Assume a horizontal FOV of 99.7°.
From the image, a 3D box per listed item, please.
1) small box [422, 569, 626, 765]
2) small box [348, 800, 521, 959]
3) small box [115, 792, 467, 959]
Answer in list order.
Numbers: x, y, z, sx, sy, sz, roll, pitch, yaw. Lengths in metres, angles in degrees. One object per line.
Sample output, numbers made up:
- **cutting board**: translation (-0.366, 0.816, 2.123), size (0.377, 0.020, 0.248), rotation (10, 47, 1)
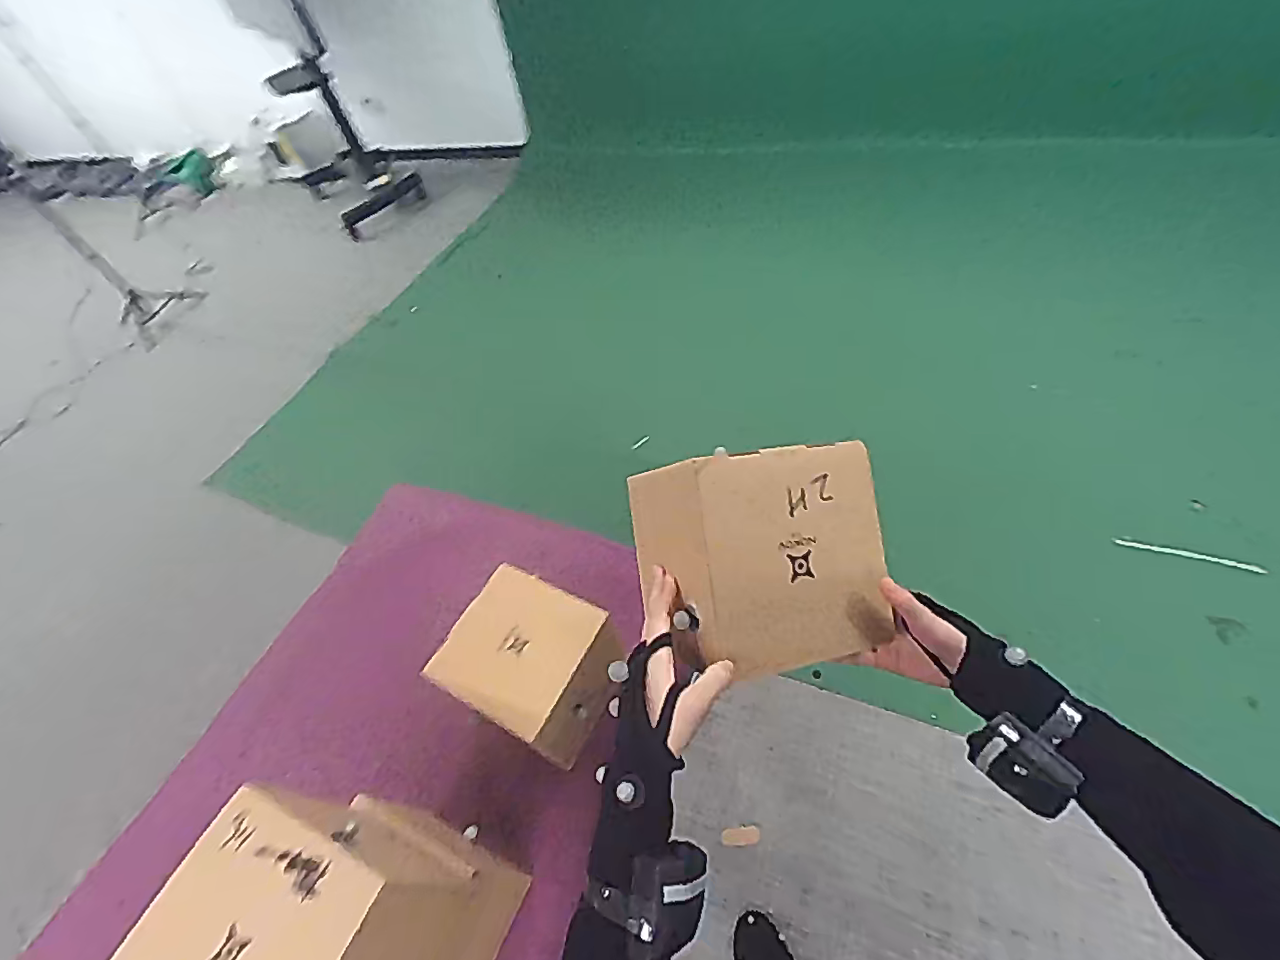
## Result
- **small box**: translation (-0.137, 0.251, 0.713), size (0.179, 0.176, 0.168), rotation (18, 59, 24)
- **small box**: translation (-0.250, 0.472, 0.561), size (0.168, 0.176, 0.179), rotation (15, 56, 23)
- **small box**: translation (-0.269, 0.382, 0.424), size (0.168, 0.176, 0.179), rotation (14, 57, 22)
